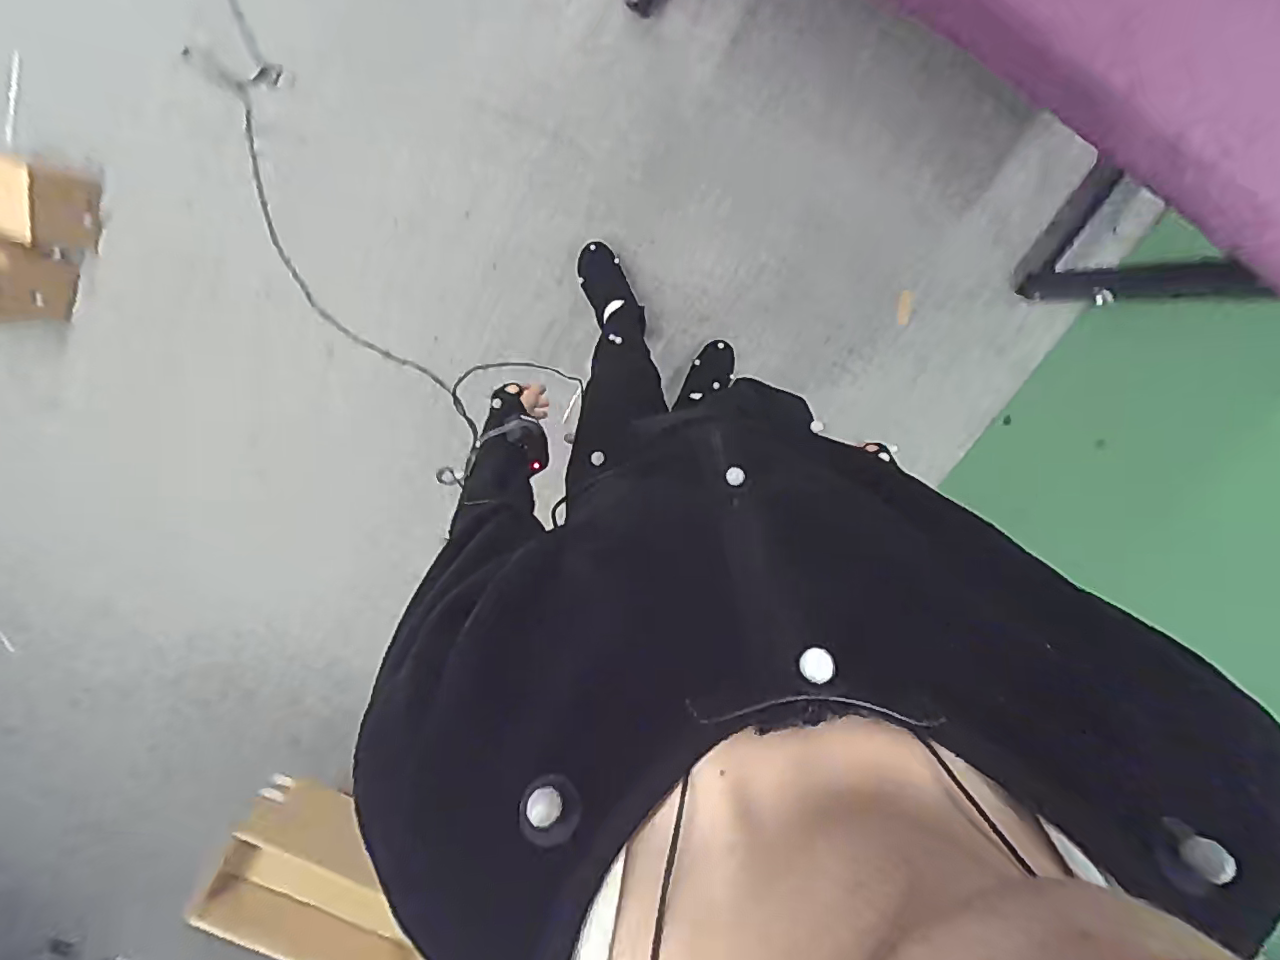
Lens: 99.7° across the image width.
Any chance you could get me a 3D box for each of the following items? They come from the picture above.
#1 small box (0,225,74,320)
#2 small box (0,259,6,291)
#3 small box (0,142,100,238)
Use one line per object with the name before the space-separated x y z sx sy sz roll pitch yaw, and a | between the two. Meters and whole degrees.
small box | -1.587 -0.523 1.350 0.168 0.176 0.179 30 108 -6
small box | -1.597 -0.466 1.197 0.179 0.176 0.168 31 107 -6
small box | -1.459 -0.692 1.289 0.179 0.176 0.168 20 109 -4
